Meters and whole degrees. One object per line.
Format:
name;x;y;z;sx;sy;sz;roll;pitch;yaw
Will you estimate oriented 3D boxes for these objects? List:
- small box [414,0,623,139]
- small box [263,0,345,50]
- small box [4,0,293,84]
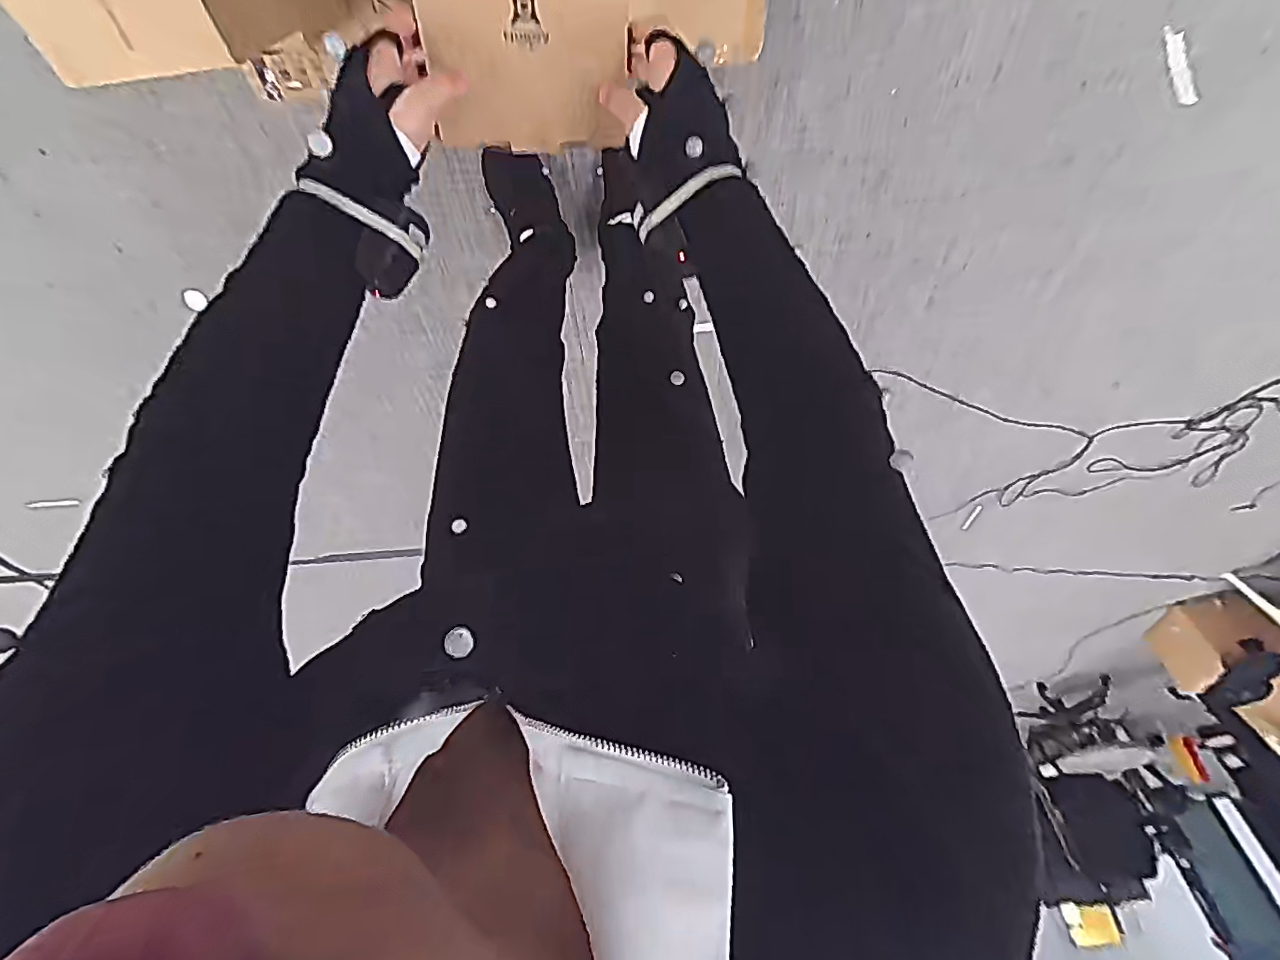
small box;-0.104;-0.429;0.481;0.168;0.176;0.179;-4;137;-7
small box;-0.467;-0.605;0.603;0.168;0.176;0.179;-5;140;1
small box;-0.460;-0.490;0.485;0.168;0.176;0.179;-6;140;2
